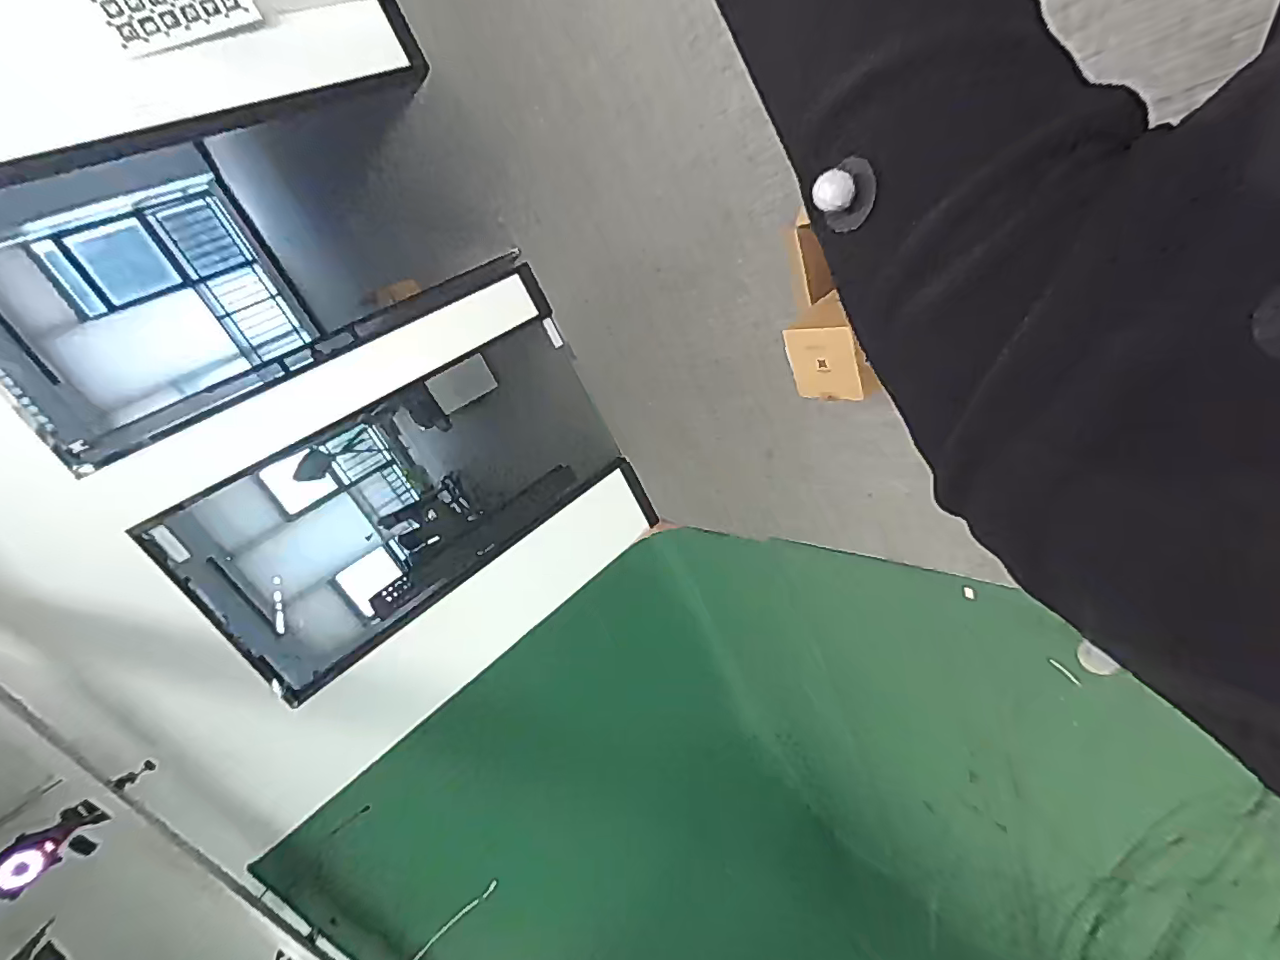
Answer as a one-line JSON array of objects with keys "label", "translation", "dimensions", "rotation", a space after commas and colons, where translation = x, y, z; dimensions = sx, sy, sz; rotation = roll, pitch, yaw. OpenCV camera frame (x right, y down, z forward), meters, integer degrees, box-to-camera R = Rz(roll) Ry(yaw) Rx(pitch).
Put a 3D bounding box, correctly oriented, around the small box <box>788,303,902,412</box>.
[{"label": "small box", "translation": [0.467, -0.274, 1.216], "dimensions": [0.168, 0.176, 0.179], "rotation": [13, 135, 50]}]
